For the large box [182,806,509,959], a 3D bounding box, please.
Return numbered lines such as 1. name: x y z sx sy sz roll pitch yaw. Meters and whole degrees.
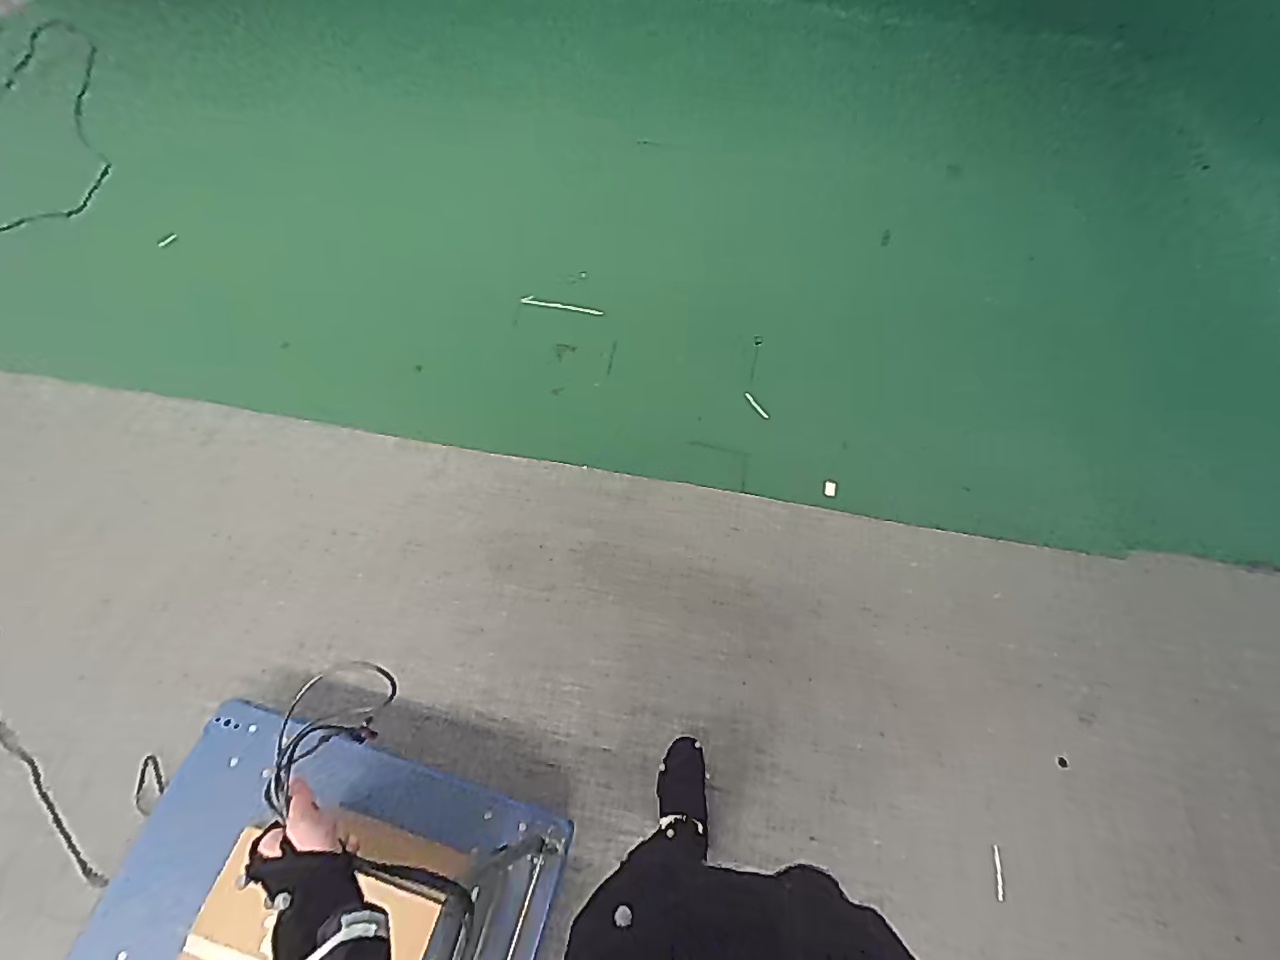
1. large box: -0.496 0.816 0.947 0.408 0.320 0.320 15 65 7
